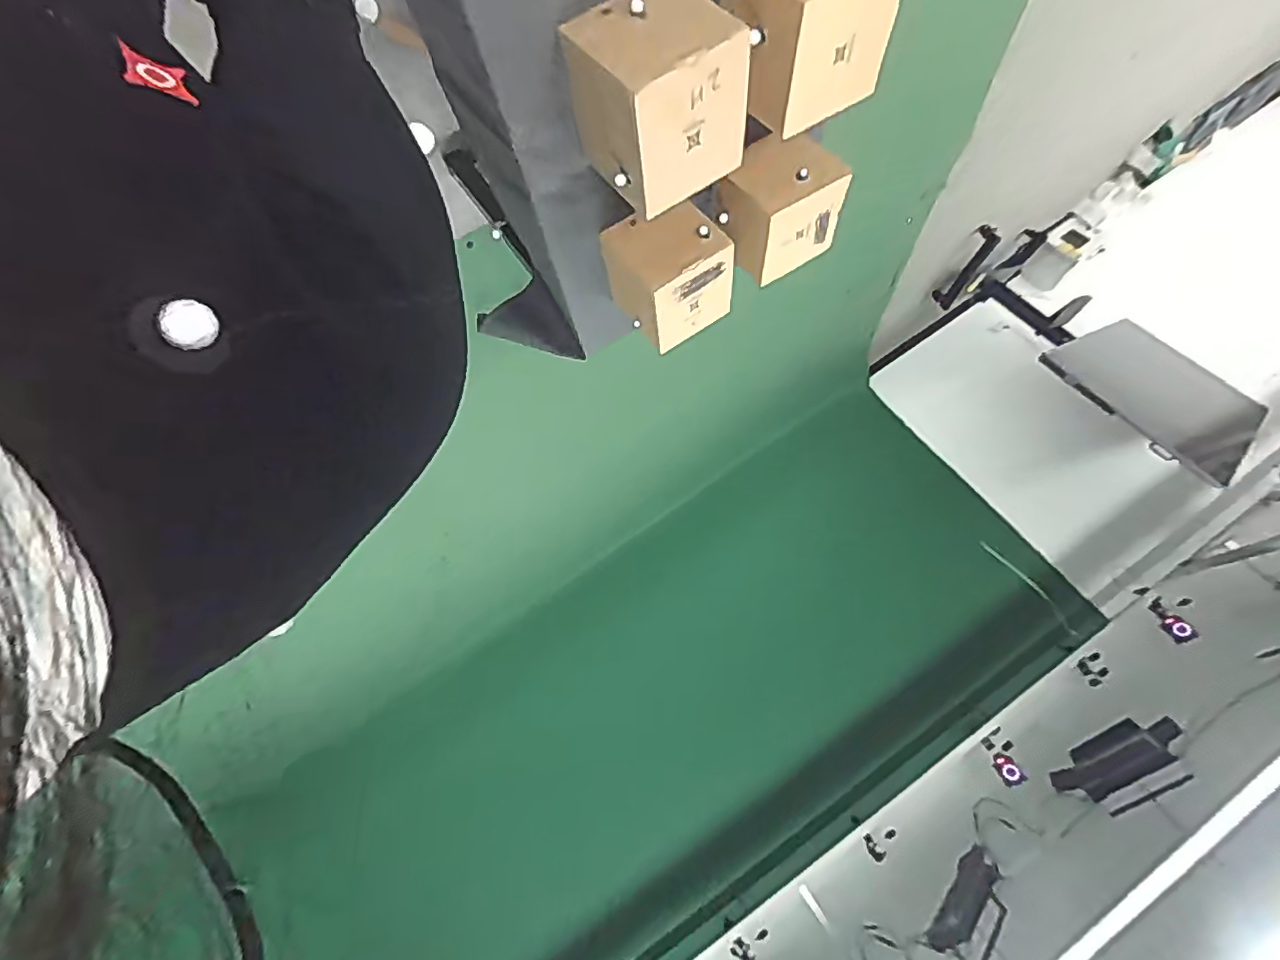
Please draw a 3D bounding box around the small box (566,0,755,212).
[{"bbox_3d":[0.026,-0.503,0.706,0.168,0.176,0.179,-34,157,-8],"label":"small box"}]

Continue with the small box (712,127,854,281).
[{"bbox_3d":[0.257,-0.519,1.010,0.179,0.176,0.168,-31,157,-9],"label":"small box"}]

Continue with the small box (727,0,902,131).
[{"bbox_3d":[0.229,-0.634,0.745,0.179,0.176,0.168,-32,158,-10],"label":"small box"}]
